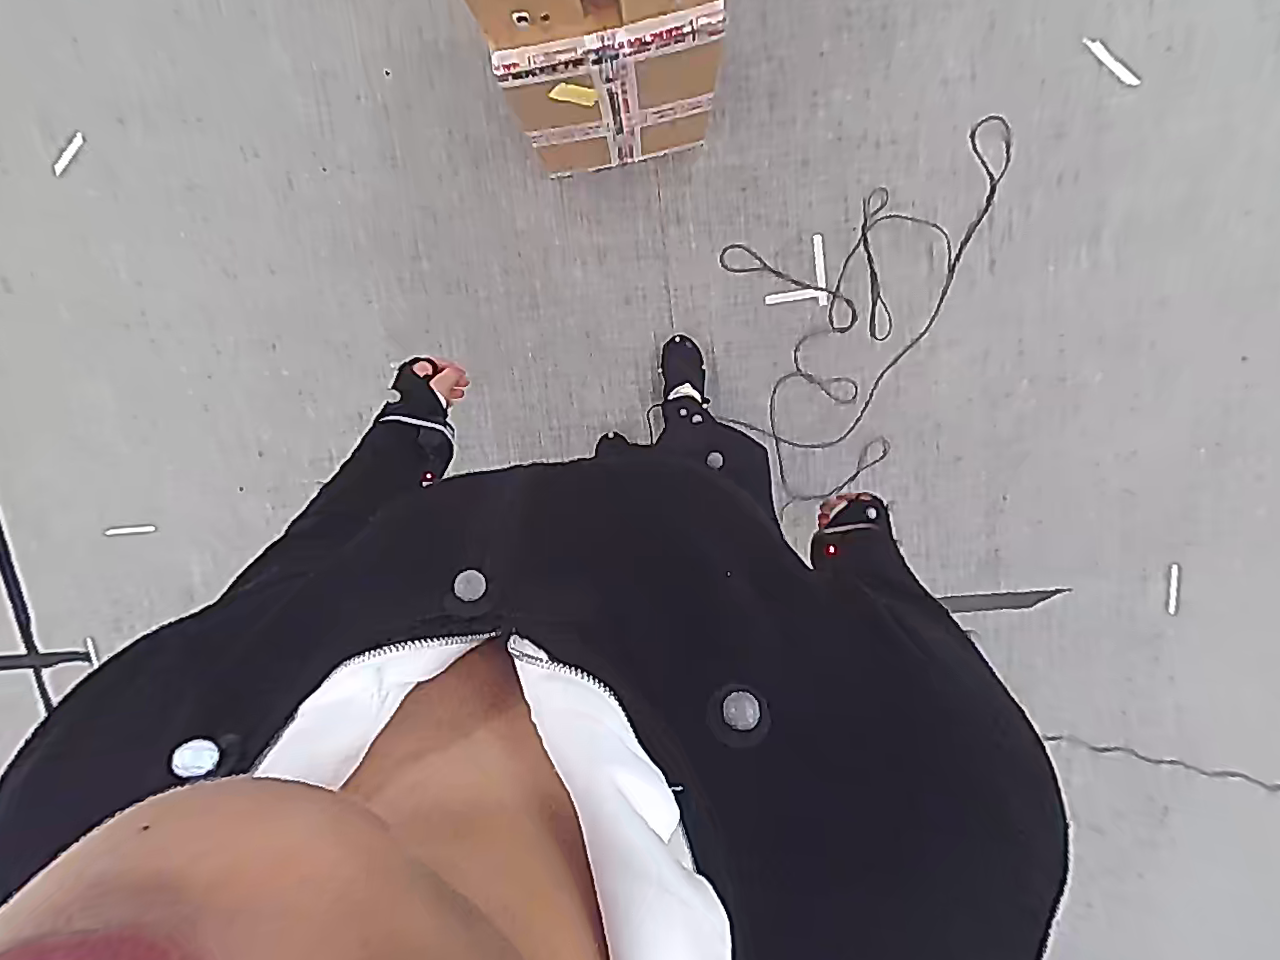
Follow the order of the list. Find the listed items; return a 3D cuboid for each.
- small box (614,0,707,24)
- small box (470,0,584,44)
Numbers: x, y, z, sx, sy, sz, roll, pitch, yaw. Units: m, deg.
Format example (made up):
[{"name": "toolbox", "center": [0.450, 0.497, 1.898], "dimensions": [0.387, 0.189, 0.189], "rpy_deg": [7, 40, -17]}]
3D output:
[{"name": "small box", "center": [0.034, -0.817, 0.780], "dimensions": [0.179, 0.176, 0.168], "rpy_deg": [-14, 102, 4]}, {"name": "small box", "center": [-0.187, -0.797, 0.792], "dimensions": [0.168, 0.176, 0.179], "rpy_deg": [-9, 103, 6]}]
